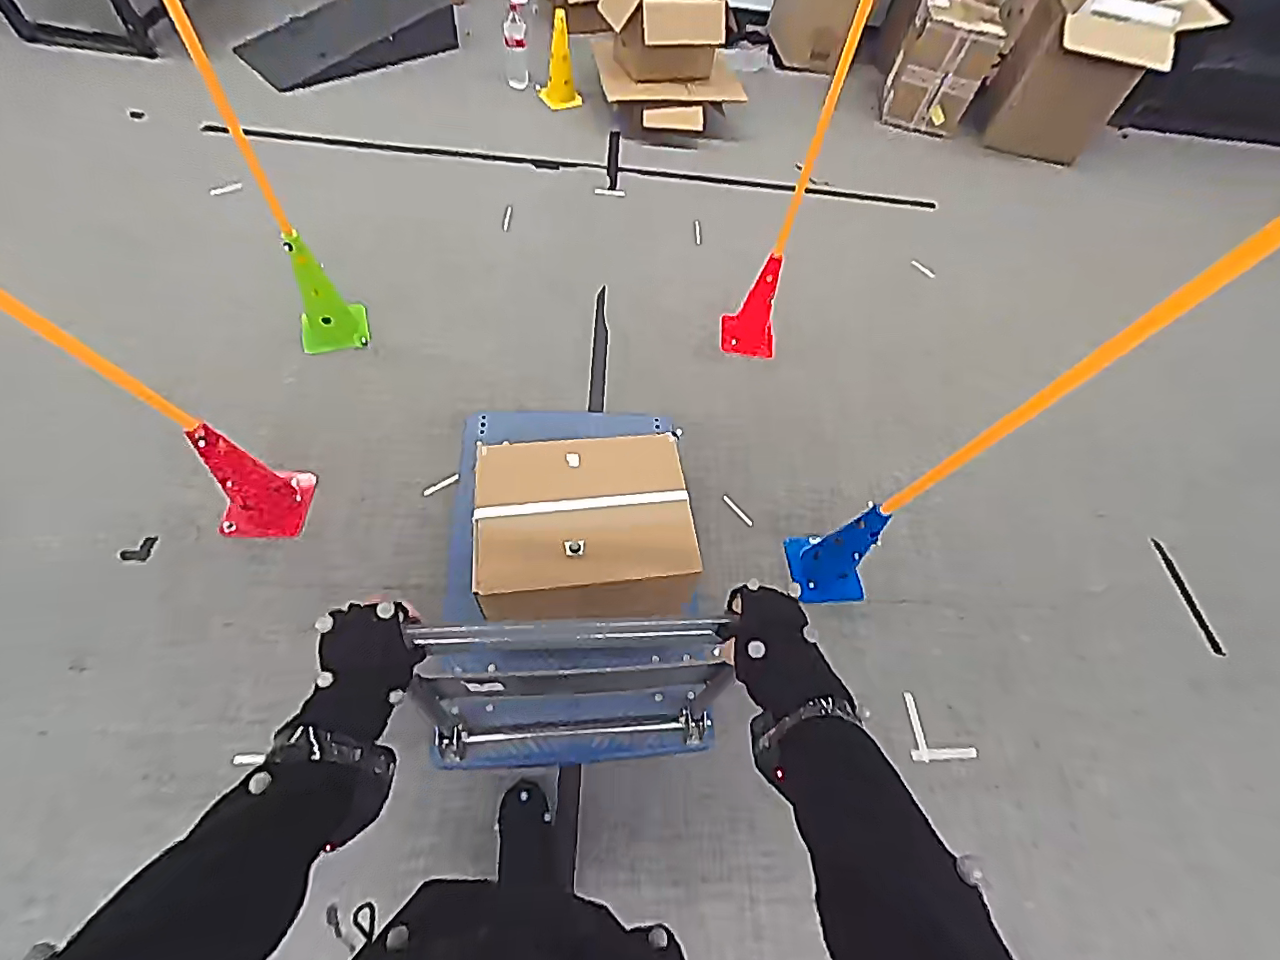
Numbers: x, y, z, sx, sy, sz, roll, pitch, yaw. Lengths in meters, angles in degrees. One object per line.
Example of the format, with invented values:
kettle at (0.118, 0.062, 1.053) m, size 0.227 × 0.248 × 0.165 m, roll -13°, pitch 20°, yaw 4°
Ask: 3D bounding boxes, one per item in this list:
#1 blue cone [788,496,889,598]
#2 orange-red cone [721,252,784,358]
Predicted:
blue cone at (0.549, 0.160, 1.417) m, size 0.193 × 0.380 × 0.192 m, roll 0°, pitch 58°, yaw -8°
orange-red cone at (0.423, -0.624, 1.863) m, size 0.199 × 0.360 × 0.198 m, roll 9°, pitch 59°, yaw -3°
